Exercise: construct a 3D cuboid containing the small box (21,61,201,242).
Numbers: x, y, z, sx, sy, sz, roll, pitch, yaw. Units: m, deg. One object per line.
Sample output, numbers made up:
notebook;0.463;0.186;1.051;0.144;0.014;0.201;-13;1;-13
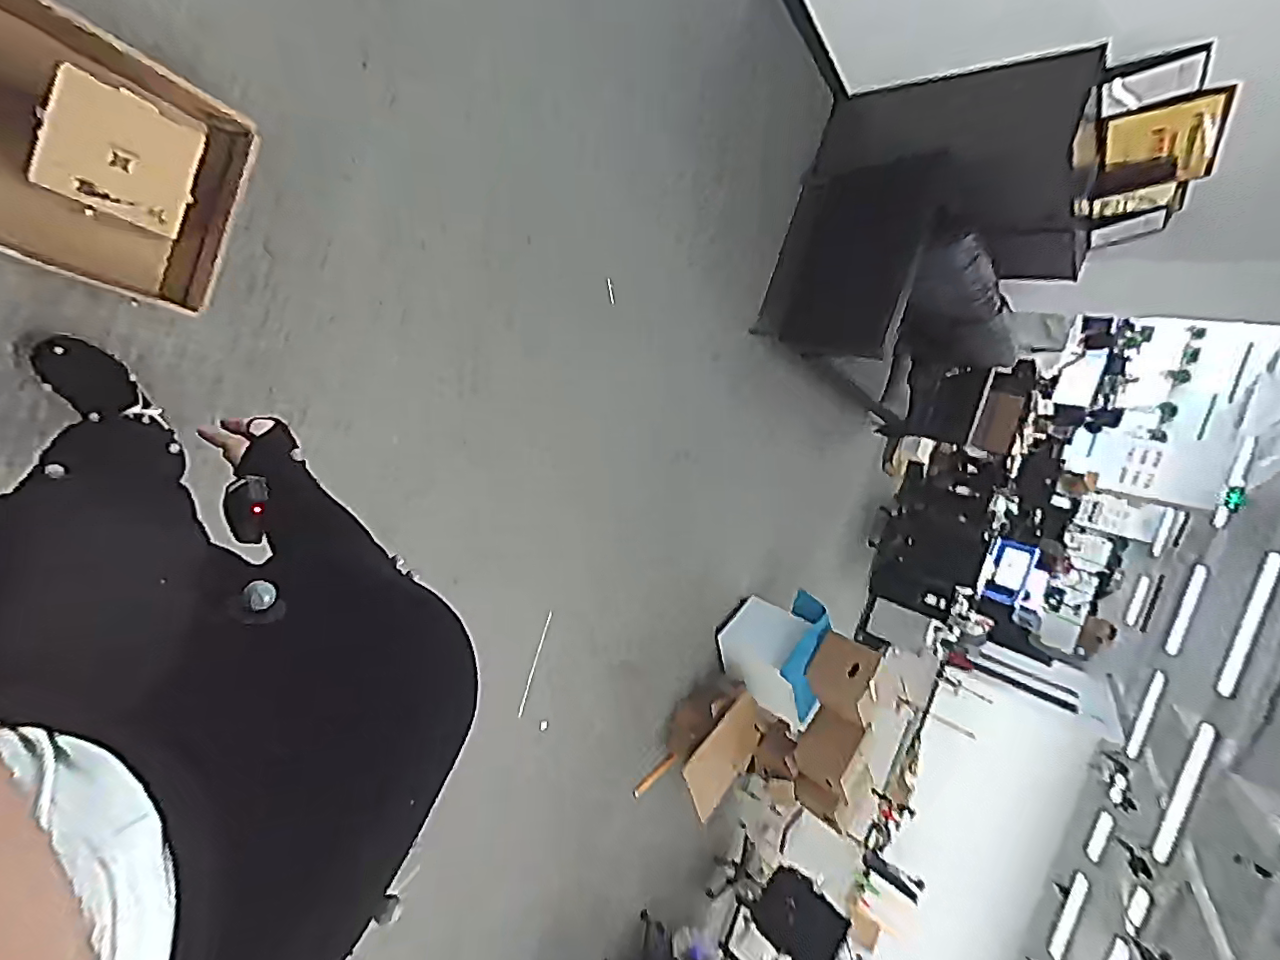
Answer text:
small box;-0.839;-0.503;0.859;0.168;0.176;0.179;17;92;-49
